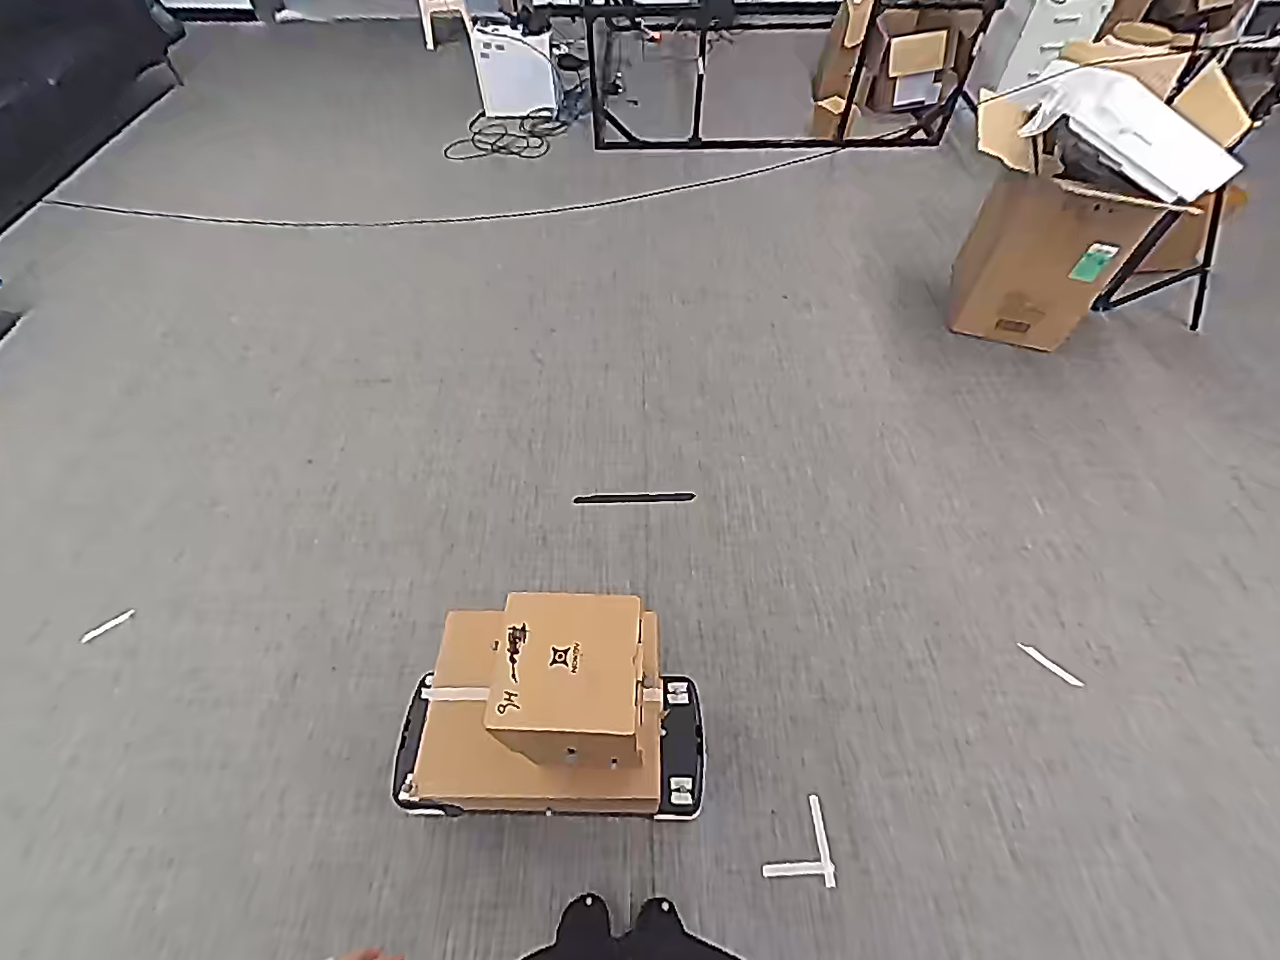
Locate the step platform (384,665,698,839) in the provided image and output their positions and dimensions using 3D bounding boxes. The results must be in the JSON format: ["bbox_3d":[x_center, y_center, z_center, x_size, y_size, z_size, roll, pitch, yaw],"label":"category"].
[{"bbox_3d":[-0.209,0.618,1.244,0.684,0.204,0.286,4,55,5],"label":"step platform"}]

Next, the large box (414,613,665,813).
[{"bbox_3d":[-0.157,0.466,1.060,0.408,0.320,0.320,-1,54,2],"label":"large box"}]

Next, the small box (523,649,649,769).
[{"bbox_3d":[-0.075,0.347,0.844,0.179,0.176,0.168,0,55,1],"label":"small box"}]

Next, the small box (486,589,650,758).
[{"bbox_3d":[-0.081,0.257,0.706,0.179,0.176,0.168,3,54,2],"label":"small box"}]
